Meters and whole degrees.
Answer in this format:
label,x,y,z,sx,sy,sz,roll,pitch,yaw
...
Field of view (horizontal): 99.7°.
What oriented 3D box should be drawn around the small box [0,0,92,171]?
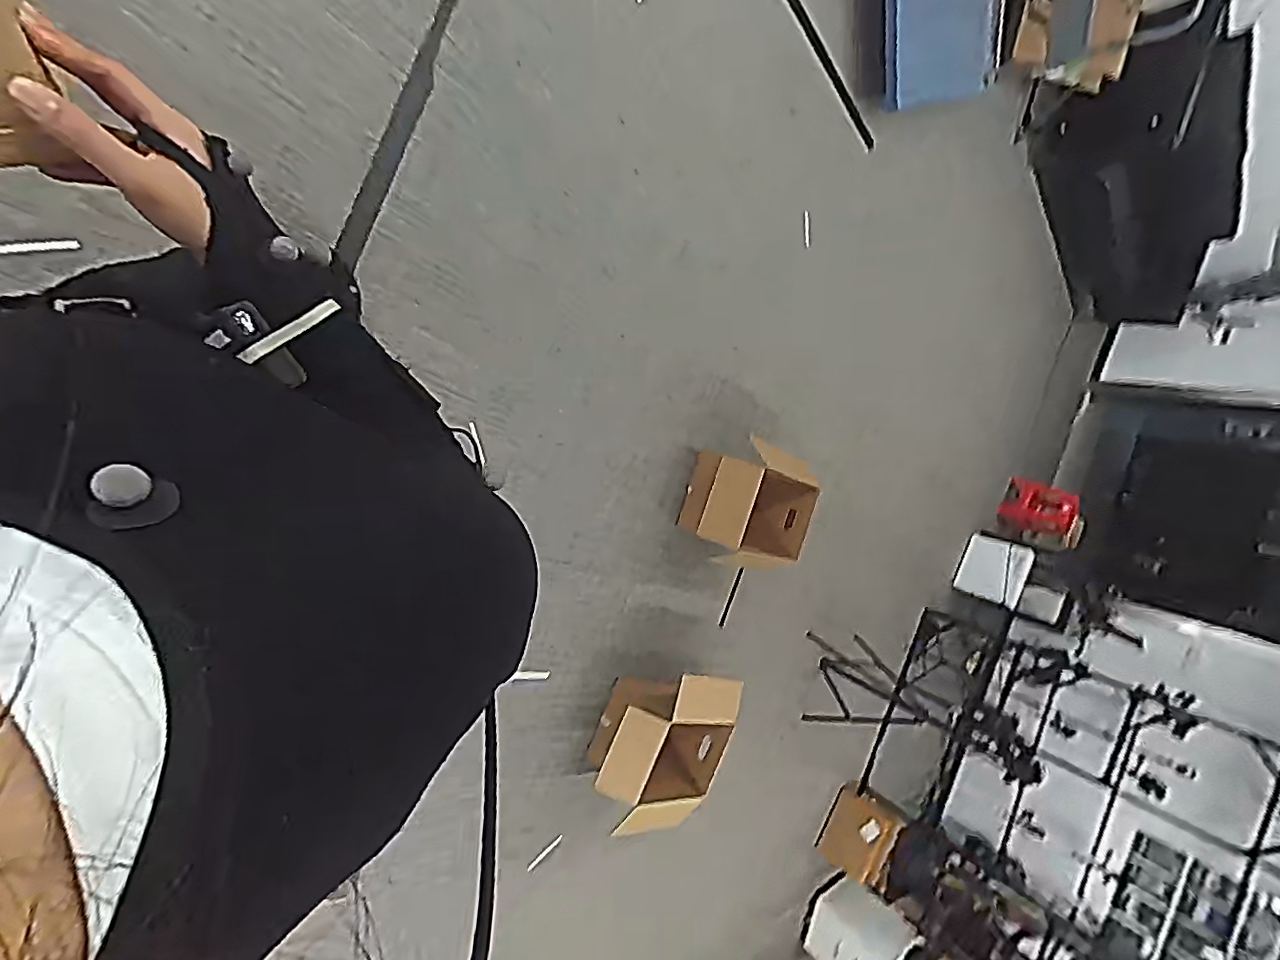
label,x,y,z,sx,sy,sz,roll,pitch,yaw
small box,-0.400,-0.246,0.235,0.179,0.176,0.168,-26,144,-30
